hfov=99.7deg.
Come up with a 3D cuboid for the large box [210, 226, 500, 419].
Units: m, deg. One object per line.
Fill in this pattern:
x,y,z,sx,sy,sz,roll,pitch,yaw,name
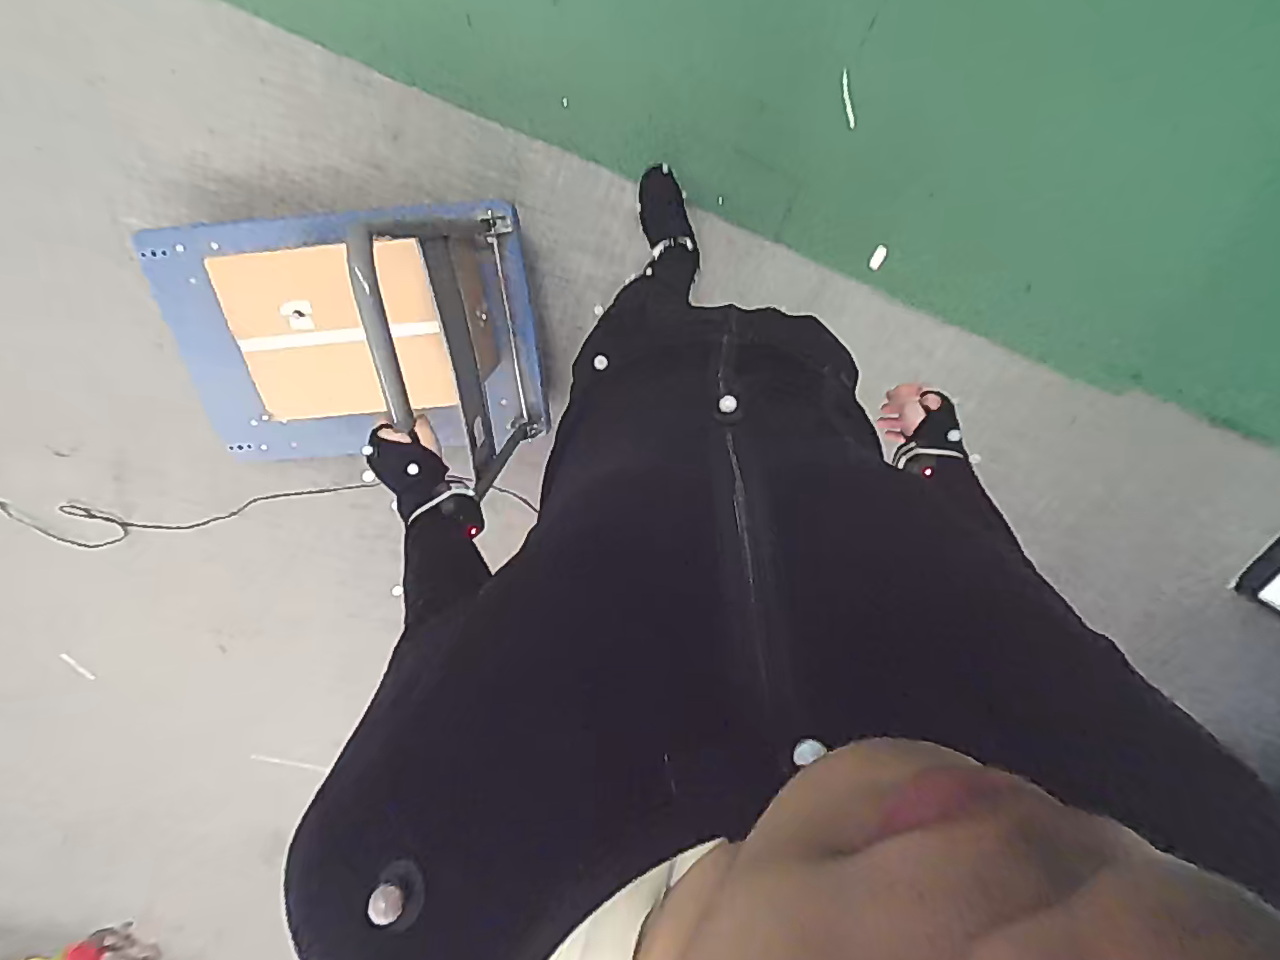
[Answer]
-0.555,-0.345,1.150,0.408,0.320,0.320,-5,116,1,large box
